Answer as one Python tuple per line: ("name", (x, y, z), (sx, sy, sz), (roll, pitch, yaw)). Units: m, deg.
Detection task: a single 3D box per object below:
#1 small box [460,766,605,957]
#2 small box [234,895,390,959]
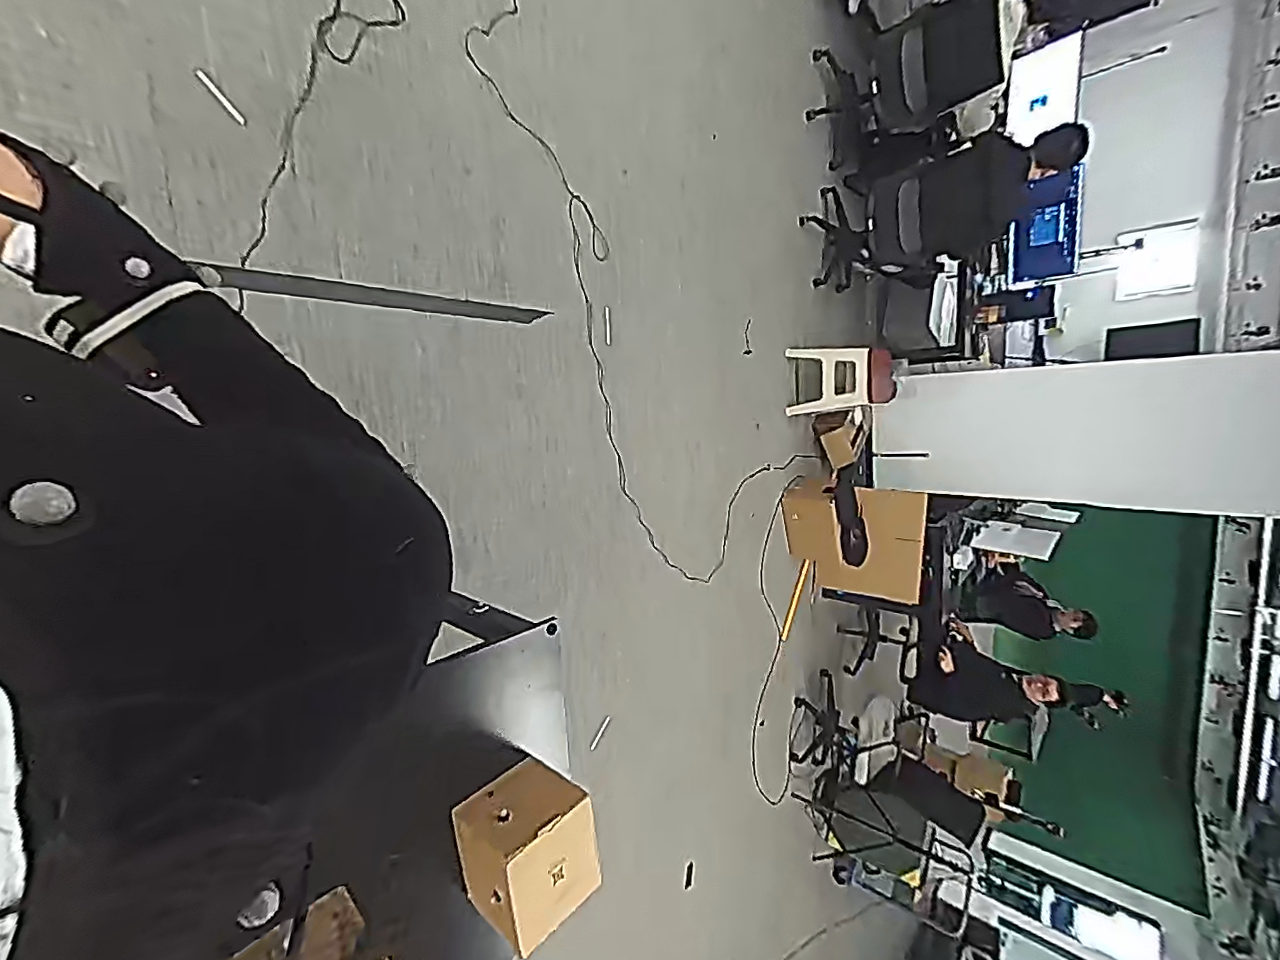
("small box", (-0.183, 0.616, 0.907), (0.168, 0.176, 0.179), (-17, 106, -44))
("small box", (-0.405, 0.680, 0.669), (0.168, 0.176, 0.179), (-14, 102, -46))
